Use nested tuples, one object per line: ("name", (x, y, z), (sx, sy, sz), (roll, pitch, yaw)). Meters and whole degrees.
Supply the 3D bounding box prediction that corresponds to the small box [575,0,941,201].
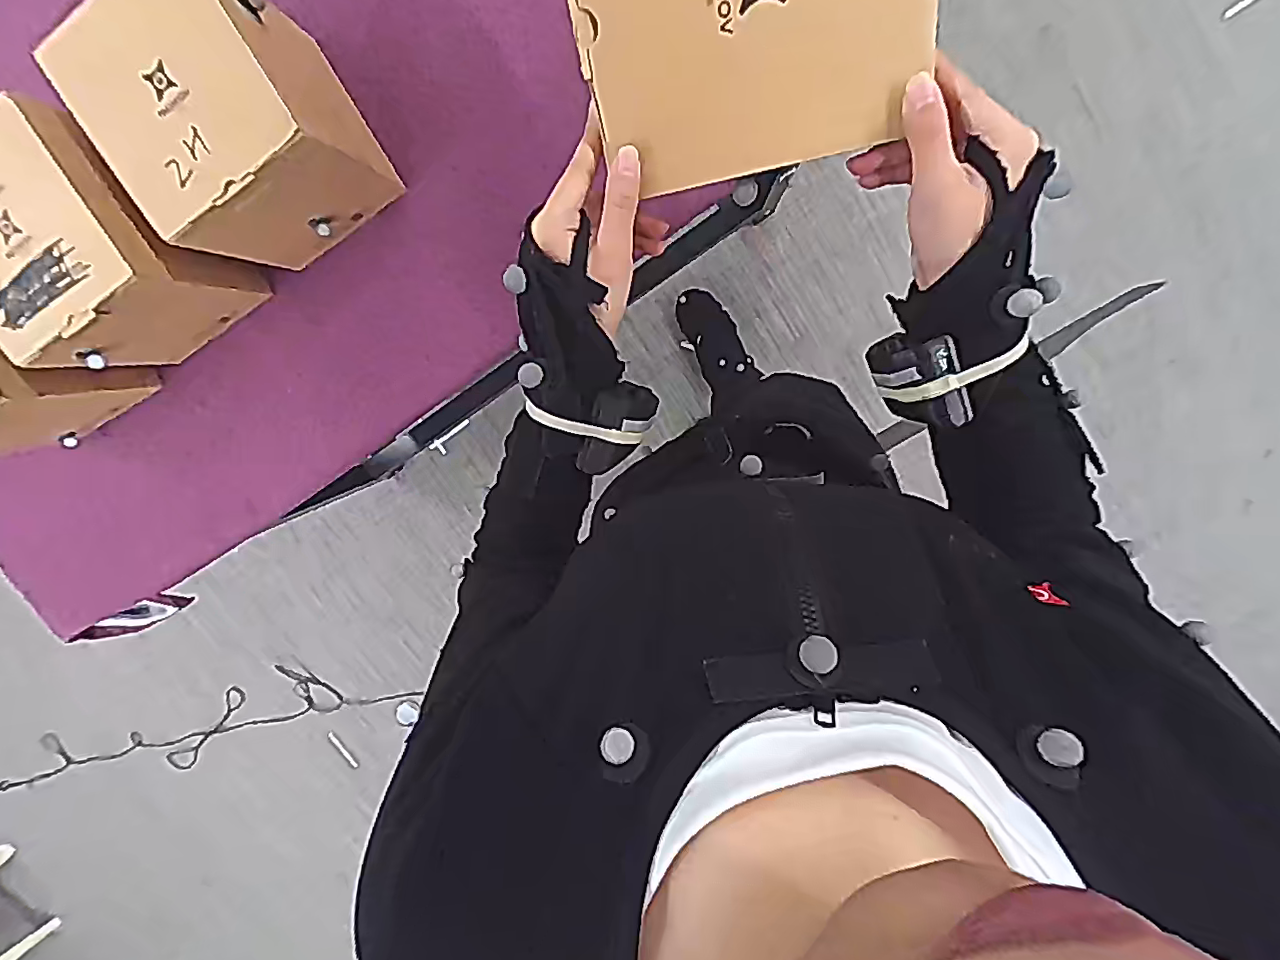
("small box", (0.058, -0.282, 0.328), (0.179, 0.176, 0.168), (-9, 119, 9))
